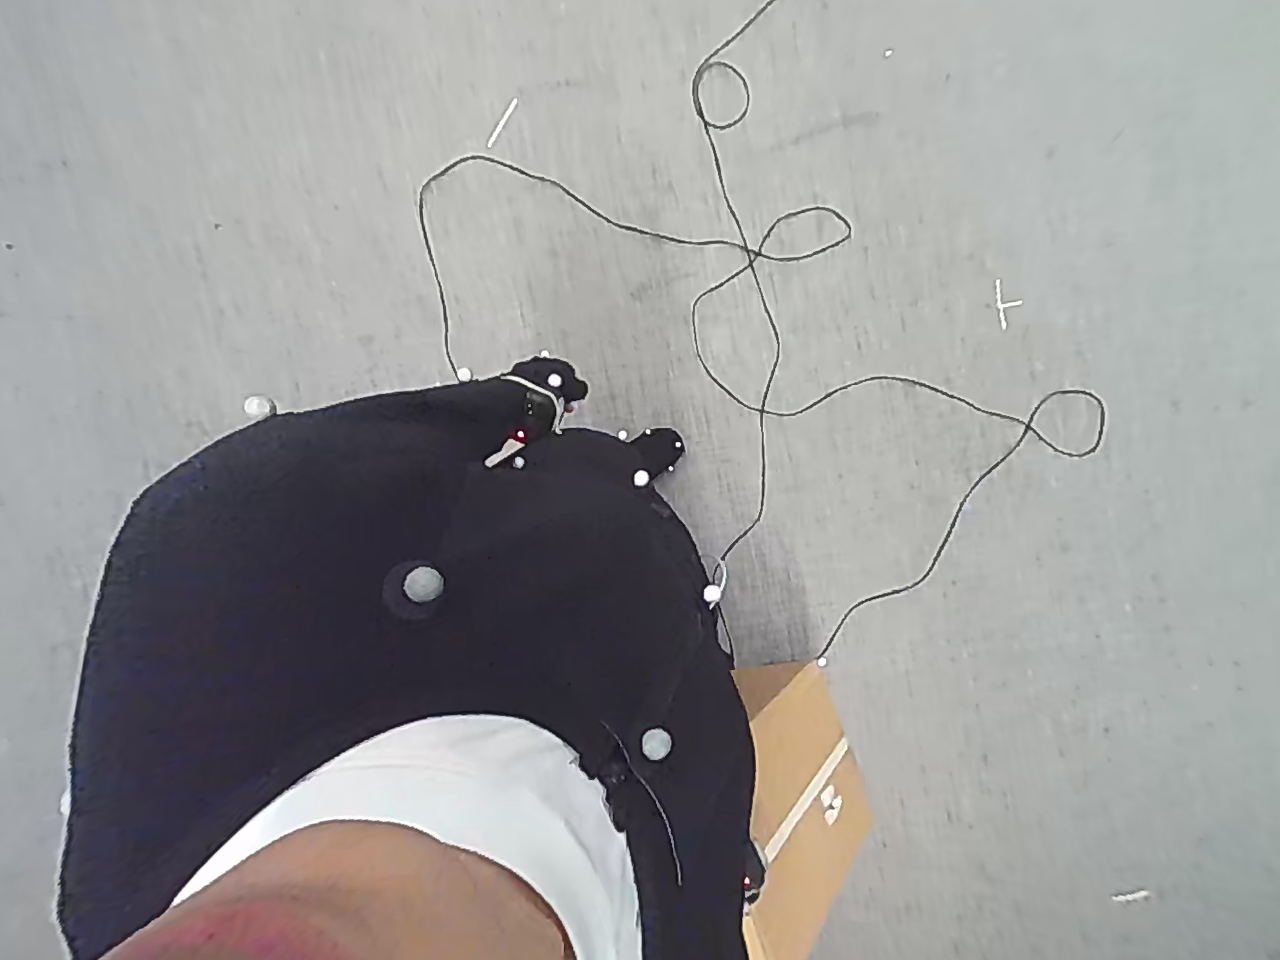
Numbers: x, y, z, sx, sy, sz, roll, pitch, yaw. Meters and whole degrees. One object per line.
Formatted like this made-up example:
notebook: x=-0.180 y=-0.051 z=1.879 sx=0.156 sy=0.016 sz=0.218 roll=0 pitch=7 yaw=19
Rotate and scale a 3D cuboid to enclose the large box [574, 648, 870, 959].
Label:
large box: x=0.156 y=0.548 z=0.985 sx=0.320 sy=0.408 sz=0.320 roll=-25 pitch=81 yaw=40
